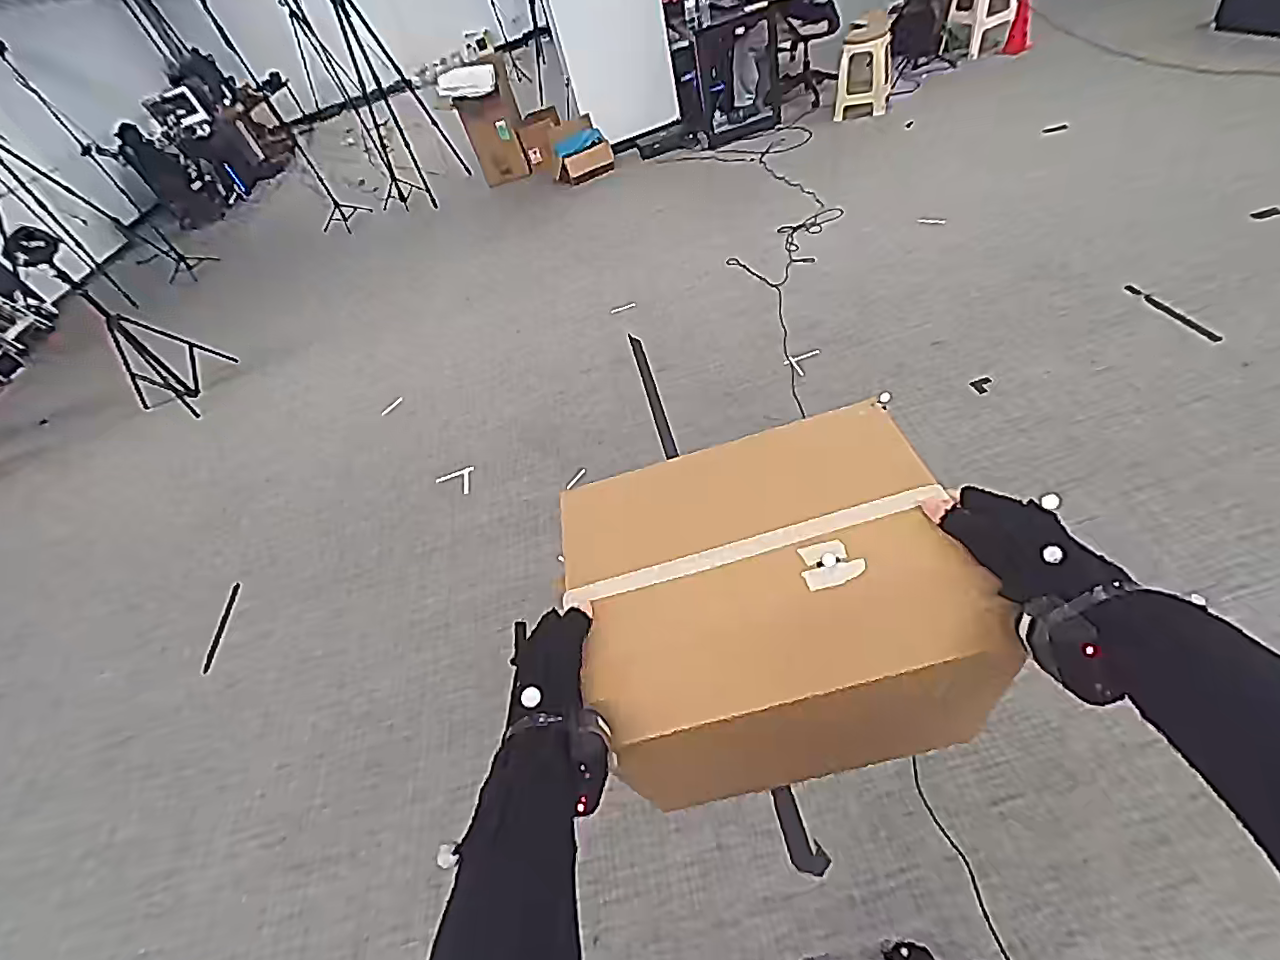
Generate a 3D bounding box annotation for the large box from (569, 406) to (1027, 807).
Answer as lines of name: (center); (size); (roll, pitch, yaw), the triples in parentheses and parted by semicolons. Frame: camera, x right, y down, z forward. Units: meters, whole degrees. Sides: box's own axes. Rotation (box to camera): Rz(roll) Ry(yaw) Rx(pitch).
large box: (0.157, 0.169, 0.685); (0.408, 0.320, 0.320); (-17, 48, 4)
